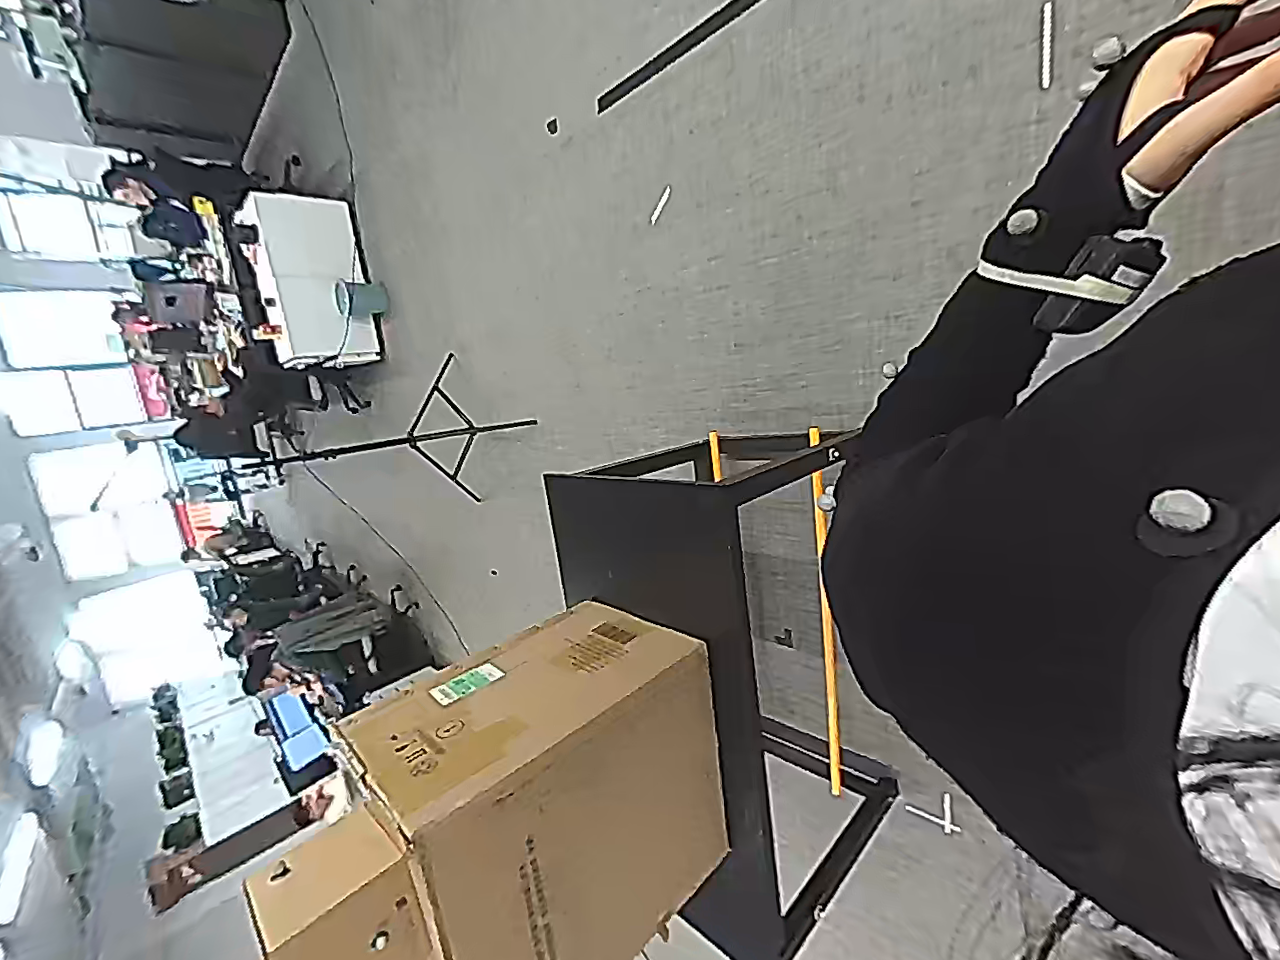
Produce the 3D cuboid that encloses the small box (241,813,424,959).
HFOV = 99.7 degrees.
[{"bbox_3d":[-0.431,0.618,0.765,0.179,0.176,0.168,0,104,46],"label":"small box"}]
